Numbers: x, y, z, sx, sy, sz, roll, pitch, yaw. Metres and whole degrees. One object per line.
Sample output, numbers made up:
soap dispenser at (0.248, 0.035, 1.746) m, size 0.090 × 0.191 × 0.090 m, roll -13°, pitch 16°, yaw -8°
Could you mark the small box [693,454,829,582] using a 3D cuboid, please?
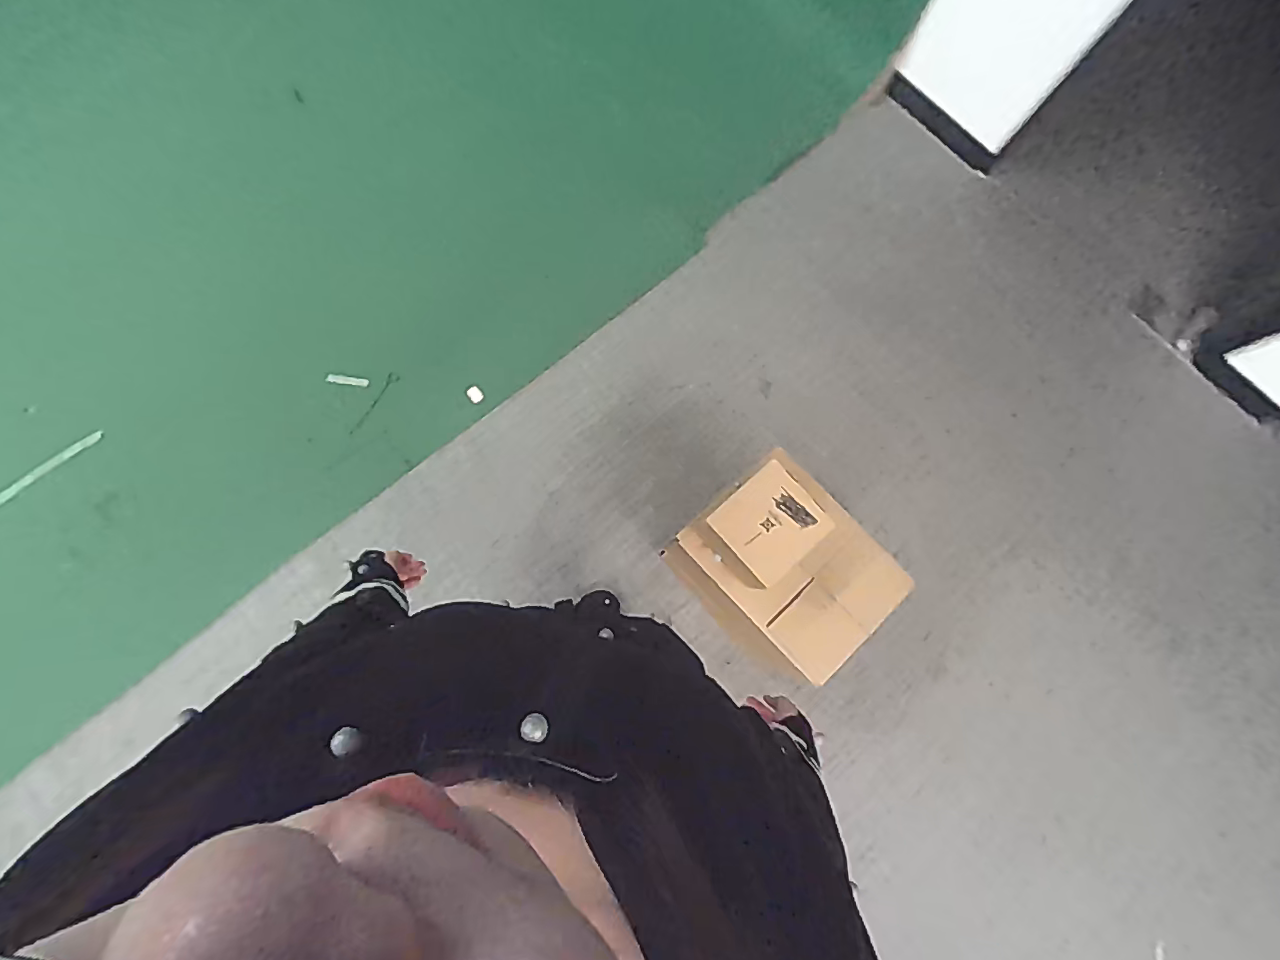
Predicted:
small box at (0.223, 0.077, 1.049) m, size 0.179 × 0.176 × 0.168 m, roll -40°, pitch 85°, yaw -7°
